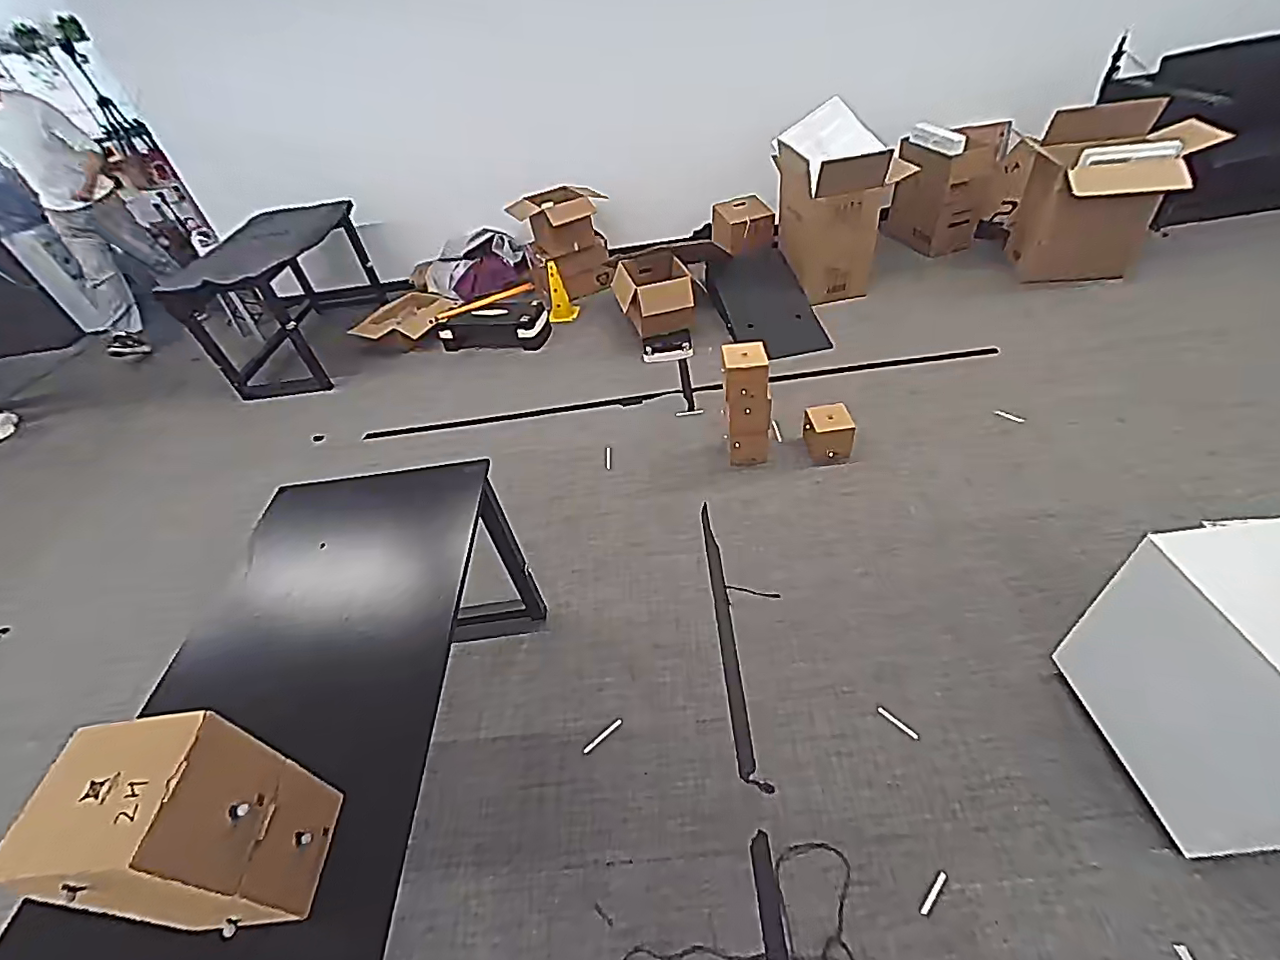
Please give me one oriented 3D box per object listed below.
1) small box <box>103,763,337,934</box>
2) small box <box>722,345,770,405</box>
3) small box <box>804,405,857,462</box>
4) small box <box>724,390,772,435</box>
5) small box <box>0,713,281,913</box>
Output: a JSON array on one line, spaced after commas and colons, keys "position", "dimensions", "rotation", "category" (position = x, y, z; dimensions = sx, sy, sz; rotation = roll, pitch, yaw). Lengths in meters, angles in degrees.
[{"position": [-0.577, 0.532, 0.779], "dimensions": [0.179, 0.176, 0.168], "rotation": [-8, 43, 1], "category": "small box"}, {"position": [0.424, -0.426, 2.187], "dimensions": [0.168, 0.176, 0.179], "rotation": [-5, 44, 4], "category": "small box"}, {"position": [0.825, -0.200, 2.358], "dimensions": [0.168, 0.176, 0.179], "rotation": [-9, 44, 3], "category": "small box"}, {"position": [0.454, -0.305, 2.292], "dimensions": [0.179, 0.176, 0.168], "rotation": [-6, 43, 2], "category": "small box"}, {"position": [-0.600, 0.413, 0.667], "dimensions": [0.179, 0.176, 0.168], "rotation": [-8, 44, 2], "category": "small box"}]
